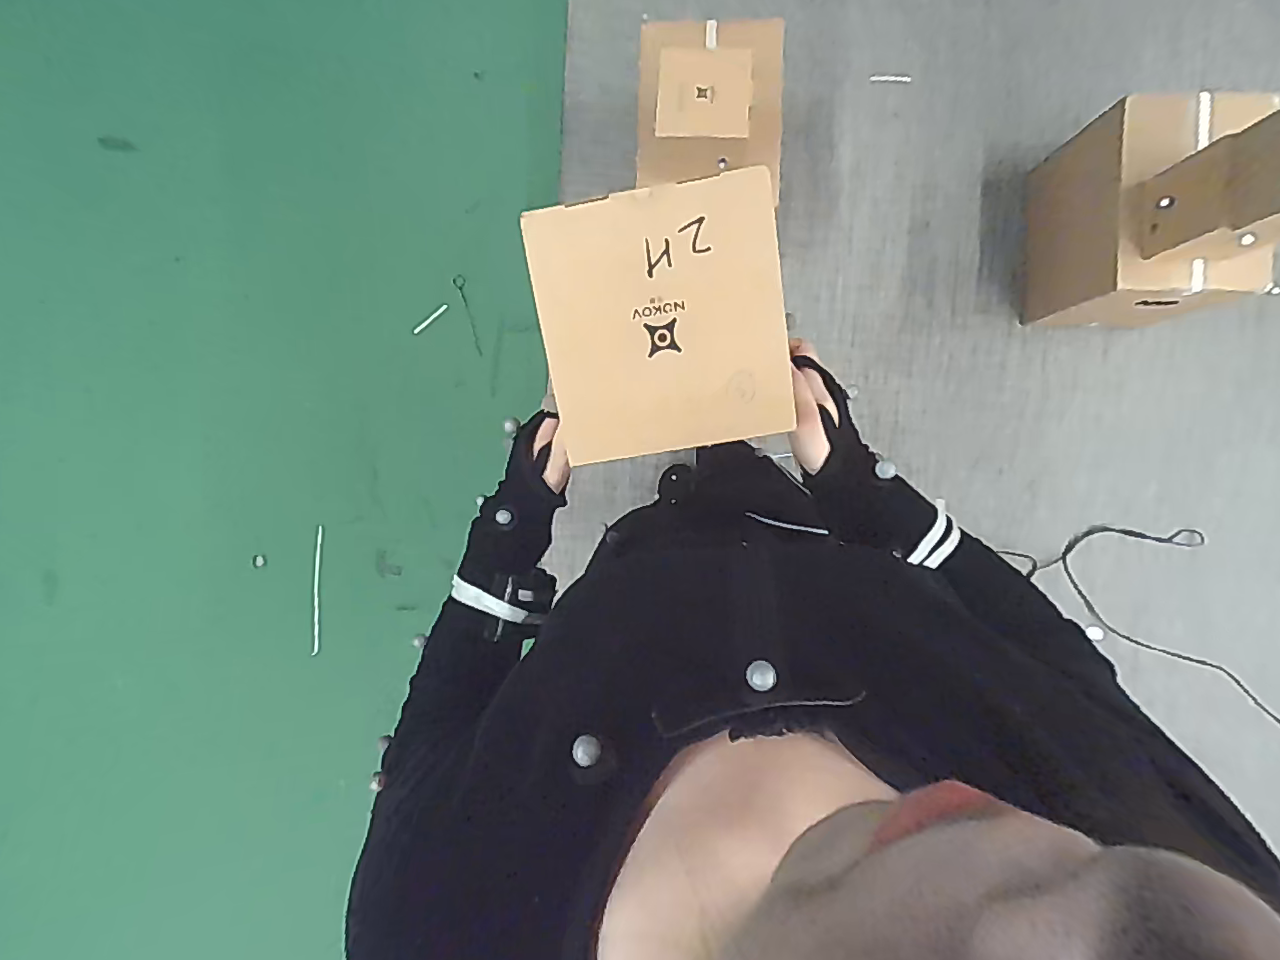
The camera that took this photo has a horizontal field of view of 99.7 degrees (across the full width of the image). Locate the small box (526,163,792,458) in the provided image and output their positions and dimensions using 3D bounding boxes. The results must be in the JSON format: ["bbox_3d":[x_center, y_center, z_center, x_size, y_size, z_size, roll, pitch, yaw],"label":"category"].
[{"bbox_3d":[0.021,-0.128,0.447,0.168,0.176,0.179,-8,102,4],"label":"small box"}]

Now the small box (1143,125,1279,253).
[{"bbox_3d":[1.131,-0.548,1.036,0.179,0.176,0.168,0,93,4],"label":"small box"}]

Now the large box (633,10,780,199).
[{"bbox_3d":[0.153,-0.807,1.310,0.320,0.320,0.408,1,92,3],"label":"large box"}]

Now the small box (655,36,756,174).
[{"bbox_3d":[0.124,-0.728,1.069,0.179,0.176,0.168,4,92,4],"label":"small box"}]
